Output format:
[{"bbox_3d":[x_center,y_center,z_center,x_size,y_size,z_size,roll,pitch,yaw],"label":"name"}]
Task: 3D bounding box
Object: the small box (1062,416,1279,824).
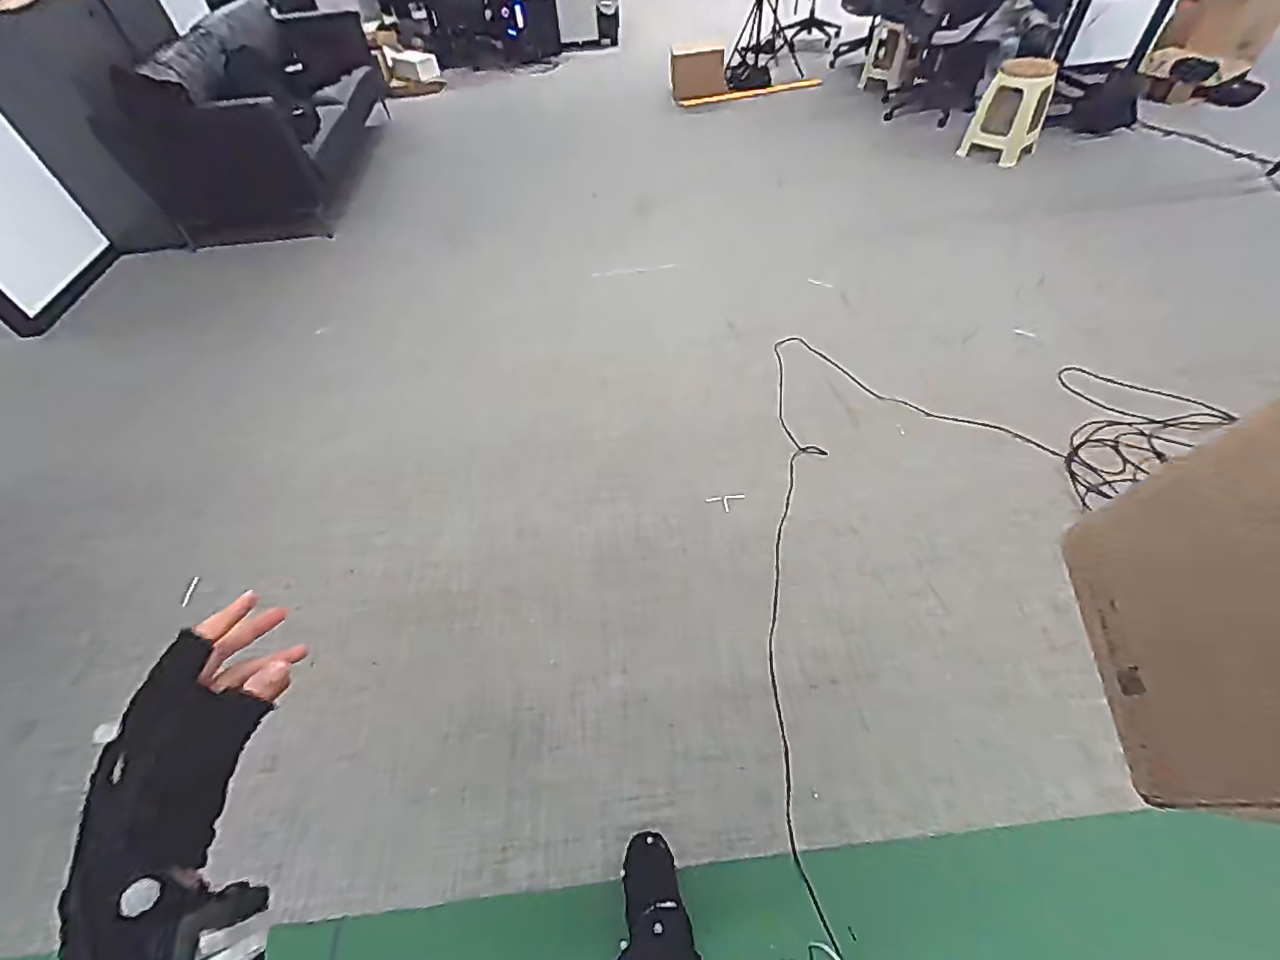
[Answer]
[{"bbox_3d":[0.363,0.073,0.258,0.179,0.176,0.168,8,59,2],"label":"small box"}]
